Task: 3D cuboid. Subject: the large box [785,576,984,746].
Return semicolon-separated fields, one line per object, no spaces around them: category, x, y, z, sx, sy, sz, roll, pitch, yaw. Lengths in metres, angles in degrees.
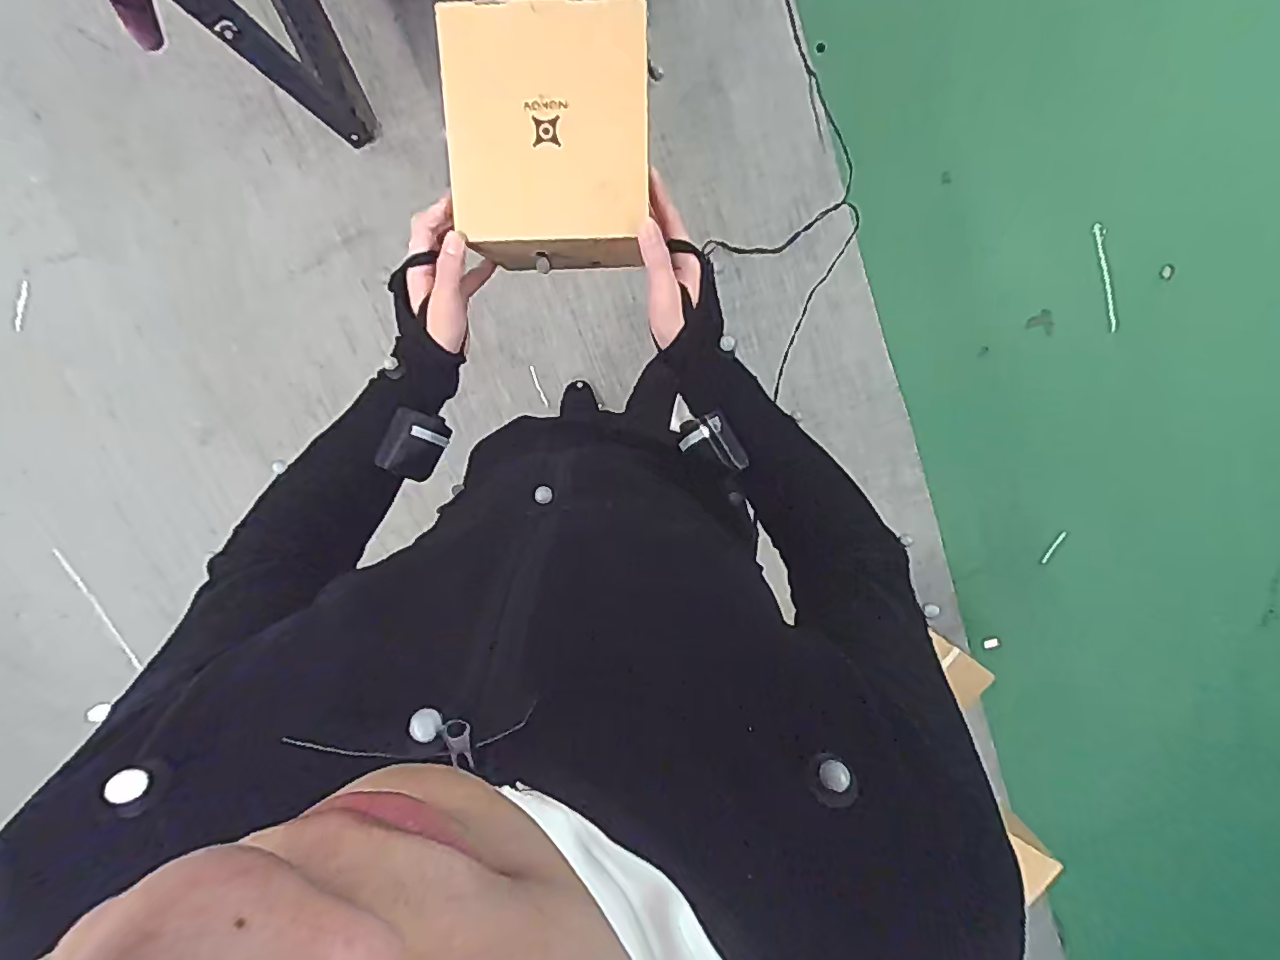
large box;0.718;0.577;1.653;0.320;0.320;0.408;34;98;-11

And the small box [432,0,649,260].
small box;-0.075;-0.309;0.509;0.168;0.176;0.179;-1;102;2

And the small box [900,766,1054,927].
small box;0.666;0.735;1.099;0.168;0.176;0.179;34;97;-9

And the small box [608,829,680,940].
small box;0.007;1.092;1.479;0.168;0.176;0.179;-11;101;0
